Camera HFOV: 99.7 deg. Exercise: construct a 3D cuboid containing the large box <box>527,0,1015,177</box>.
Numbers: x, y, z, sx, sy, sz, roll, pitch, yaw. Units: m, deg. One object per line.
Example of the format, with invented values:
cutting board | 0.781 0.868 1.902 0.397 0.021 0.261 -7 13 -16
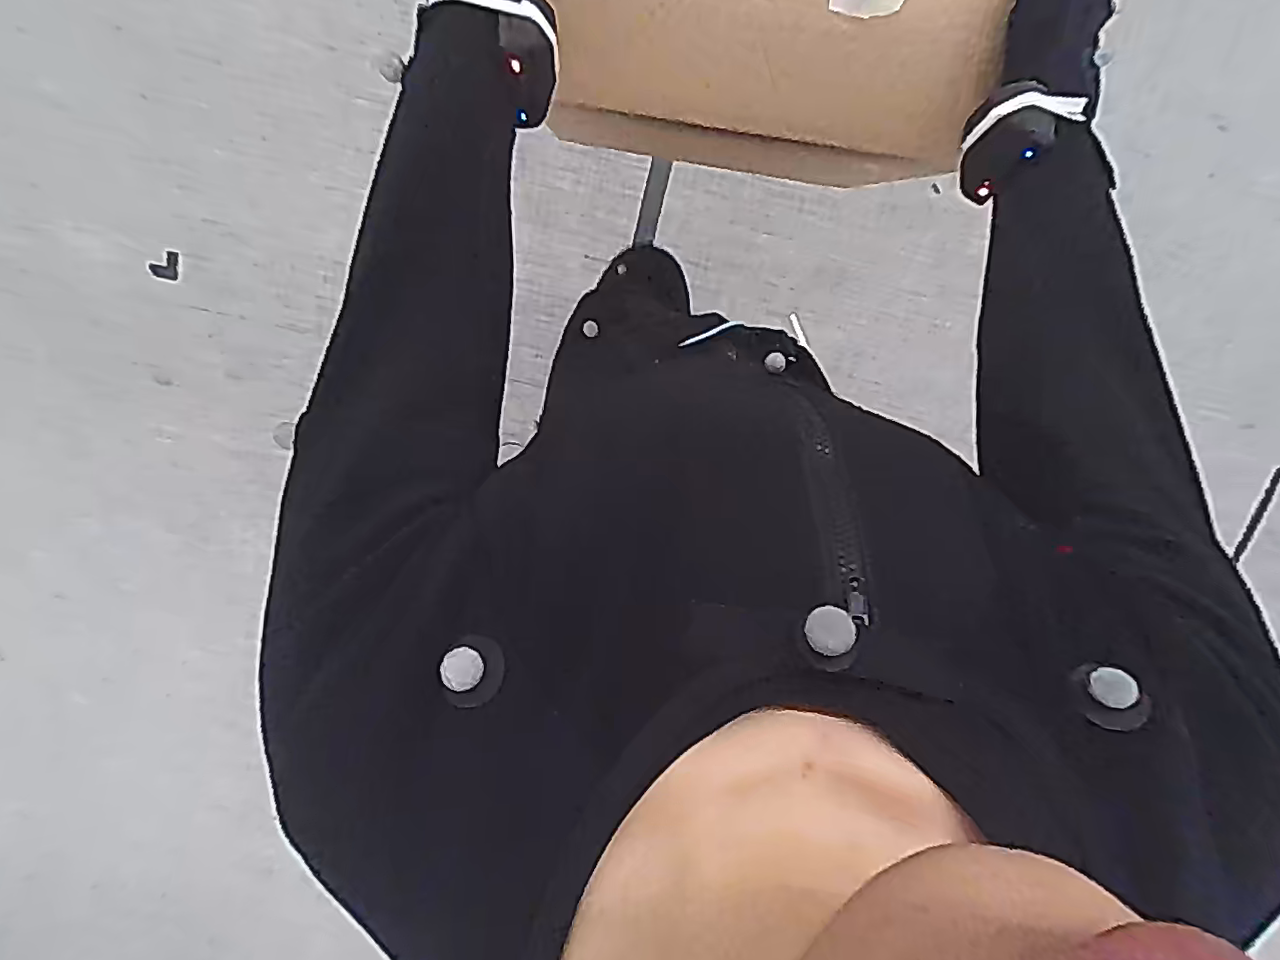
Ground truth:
large box | 0.110 -0.513 0.544 0.408 0.320 0.320 6 117 -5
